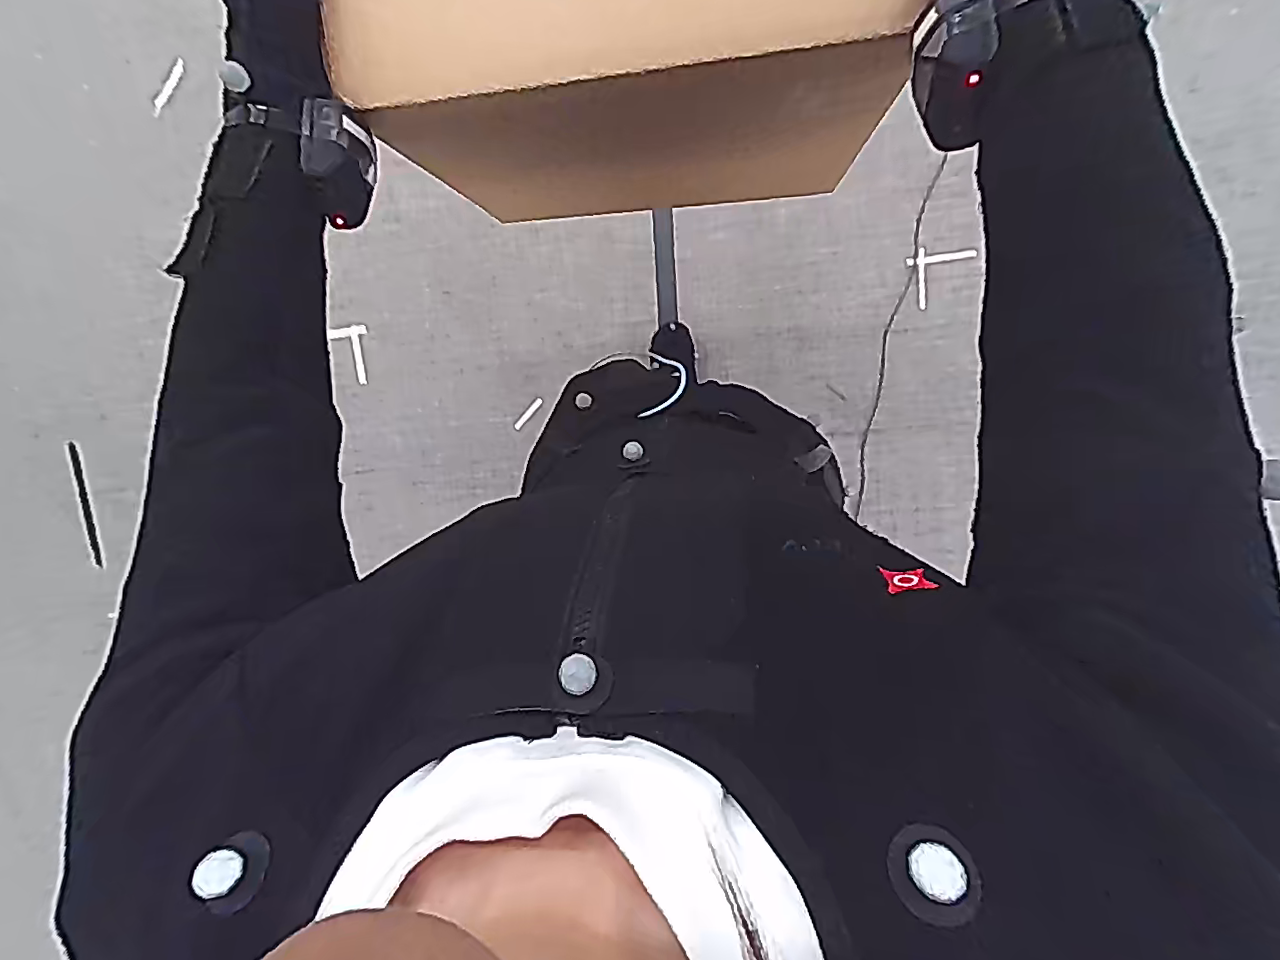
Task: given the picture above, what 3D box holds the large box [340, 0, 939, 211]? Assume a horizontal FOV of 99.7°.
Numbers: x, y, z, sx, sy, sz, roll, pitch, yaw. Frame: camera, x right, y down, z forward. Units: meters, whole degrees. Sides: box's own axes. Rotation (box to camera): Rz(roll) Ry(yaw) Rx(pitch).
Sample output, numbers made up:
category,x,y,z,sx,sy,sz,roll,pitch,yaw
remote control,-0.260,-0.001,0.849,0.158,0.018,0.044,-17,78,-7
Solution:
category,x,y,z,sx,sy,sz,roll,pitch,yaw
large box,-0.002,-0.462,0.477,0.408,0.320,0.320,-2,102,7
